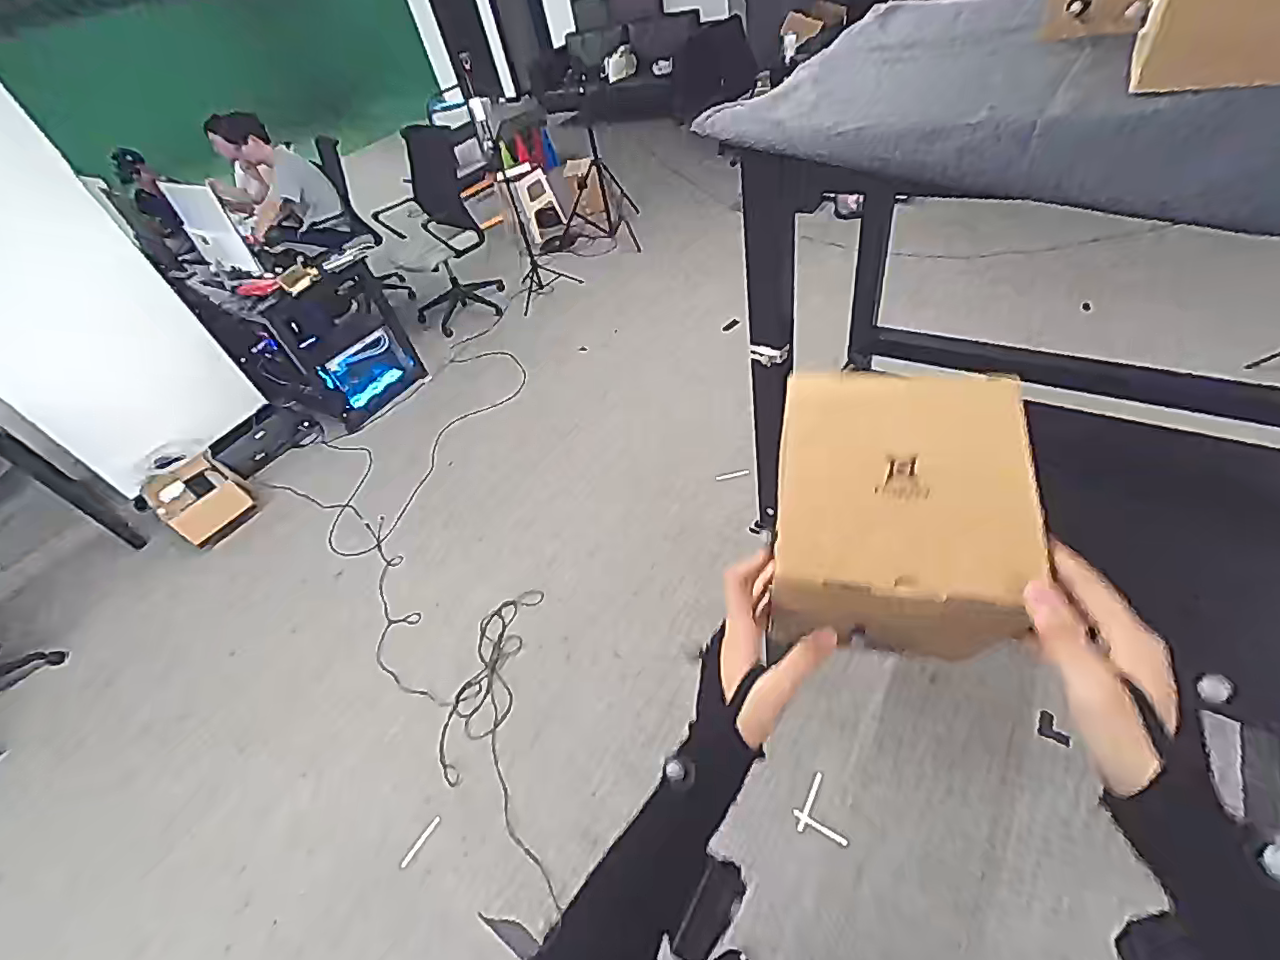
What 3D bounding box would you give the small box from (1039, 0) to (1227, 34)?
[{"bbox_3d":[0.563,-0.607,0.585,0.168,0.176,0.179,20,54,29],"label":"small box"}]
